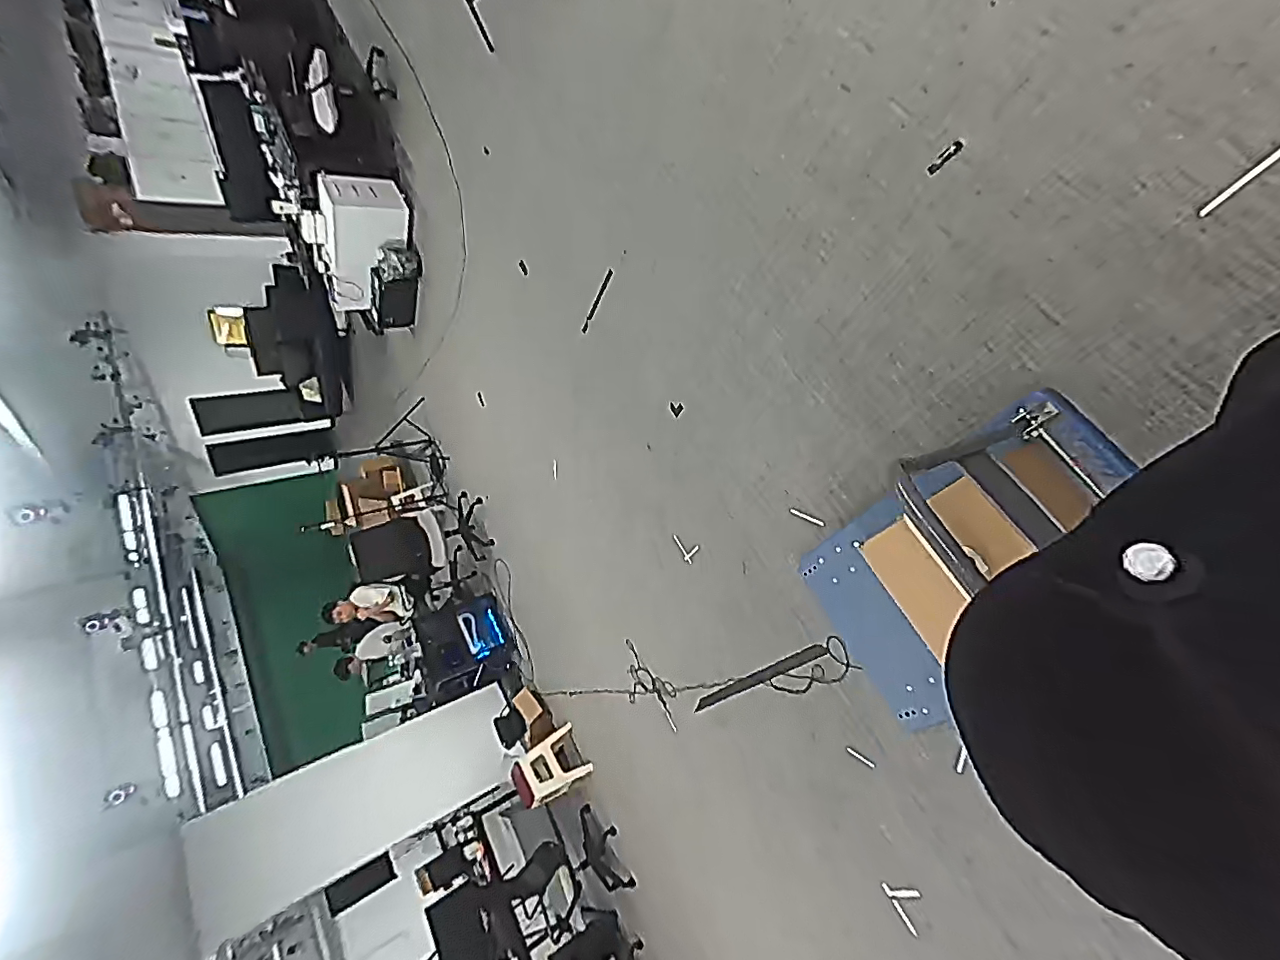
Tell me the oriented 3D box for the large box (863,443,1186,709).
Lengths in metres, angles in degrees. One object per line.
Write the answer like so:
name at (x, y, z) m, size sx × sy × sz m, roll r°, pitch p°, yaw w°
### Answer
large box at (0.774, 0.188, 1.124) m, size 0.408 × 0.320 × 0.320 m, roll 60°, pitch 142°, yaw 21°
